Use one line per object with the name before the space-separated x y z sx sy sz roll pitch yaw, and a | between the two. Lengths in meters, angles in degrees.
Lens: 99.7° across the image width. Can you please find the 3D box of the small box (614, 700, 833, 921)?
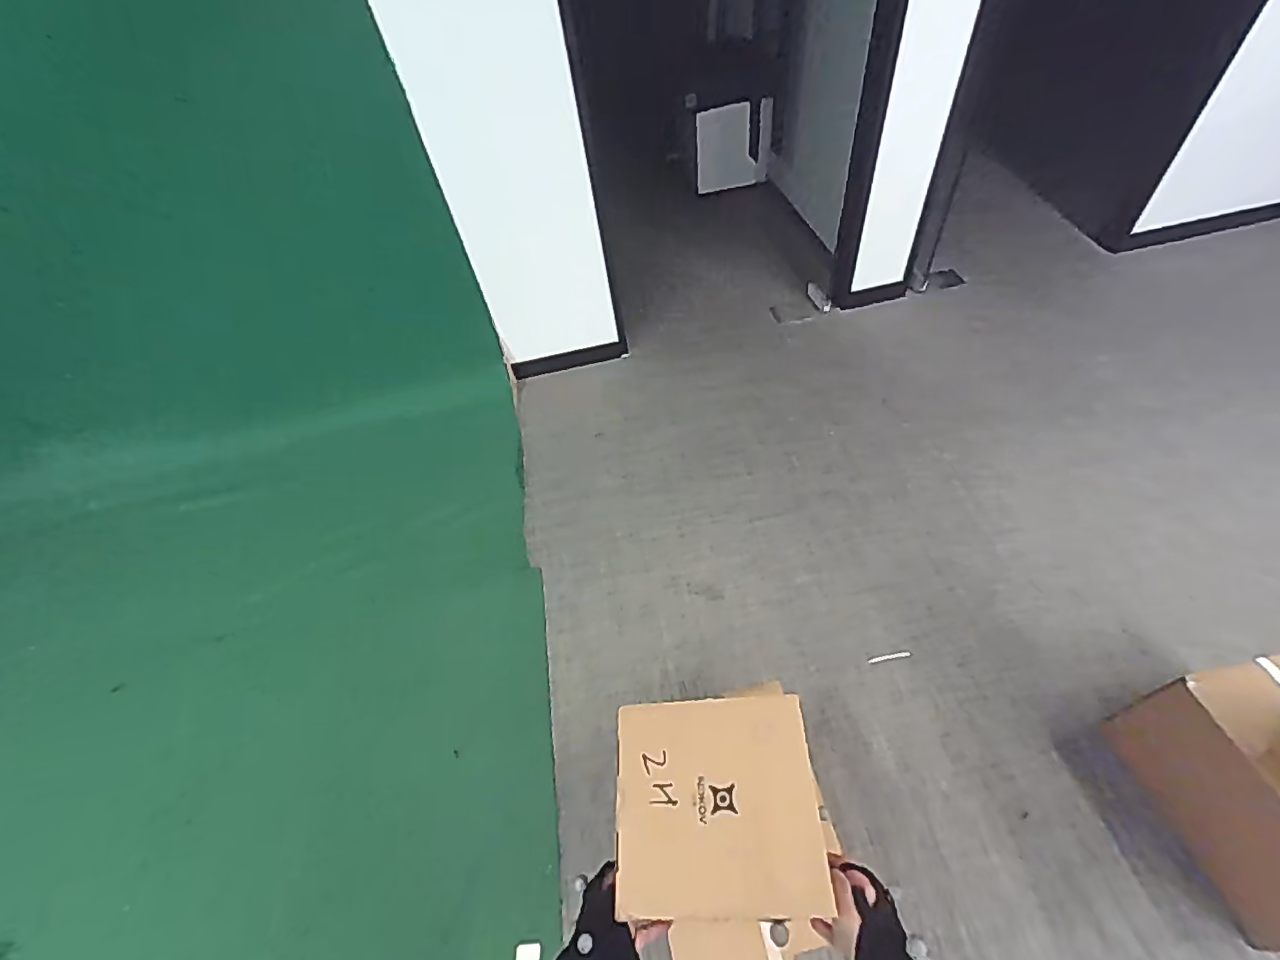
small box | 0.079 0.327 0.538 0.179 0.176 0.168 -6 52 9

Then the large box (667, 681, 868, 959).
large box | 0.194 0.681 1.075 0.320 0.320 0.408 -14 50 -1
